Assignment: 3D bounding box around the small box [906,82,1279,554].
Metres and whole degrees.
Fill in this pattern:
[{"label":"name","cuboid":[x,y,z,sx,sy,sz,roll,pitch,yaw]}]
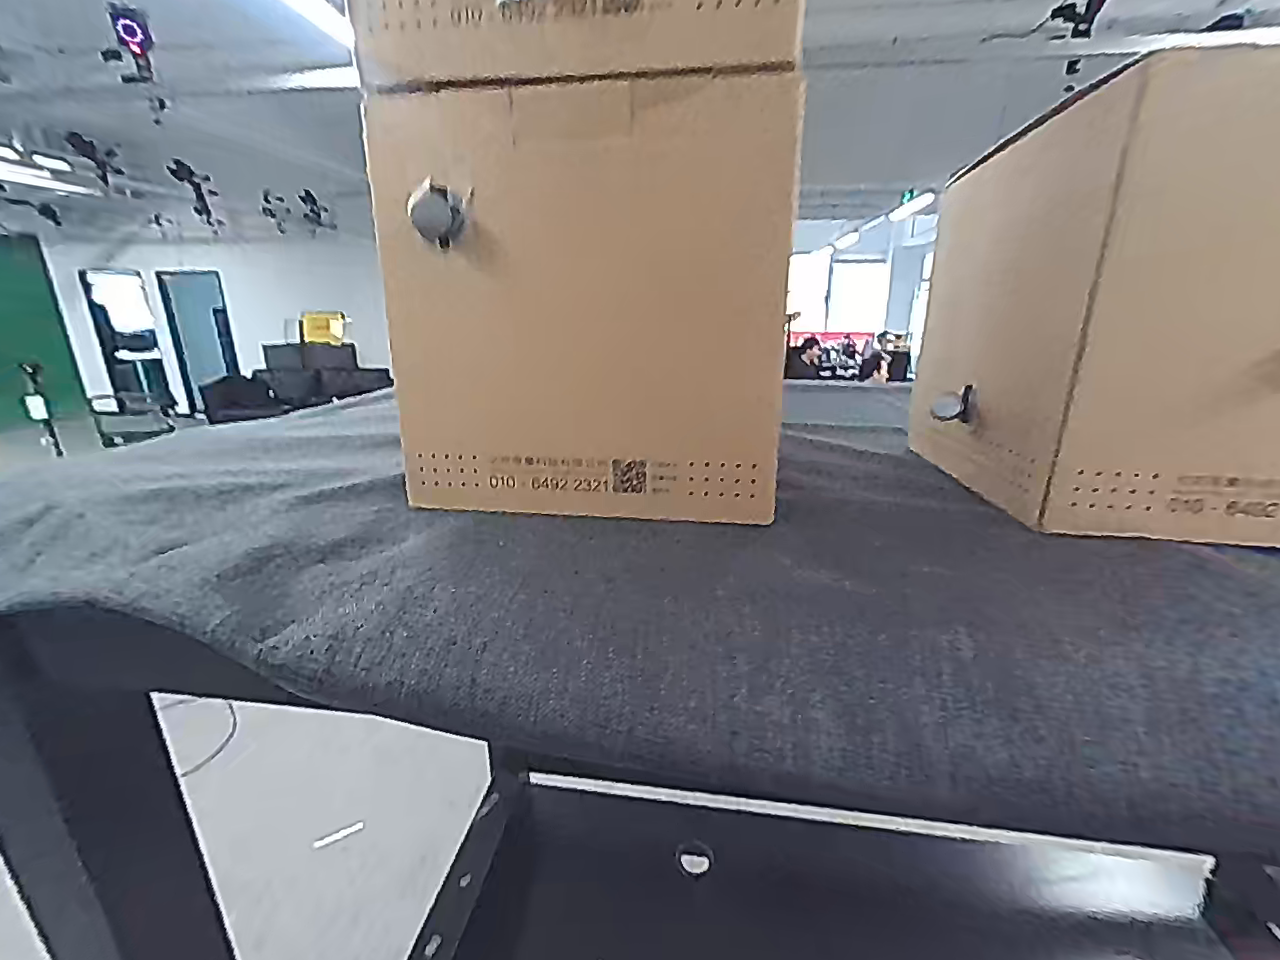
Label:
[{"label":"small box","cuboid":[0.253,-0.070,0.269,0.168,0.176,0.179,3,16,8]}]
